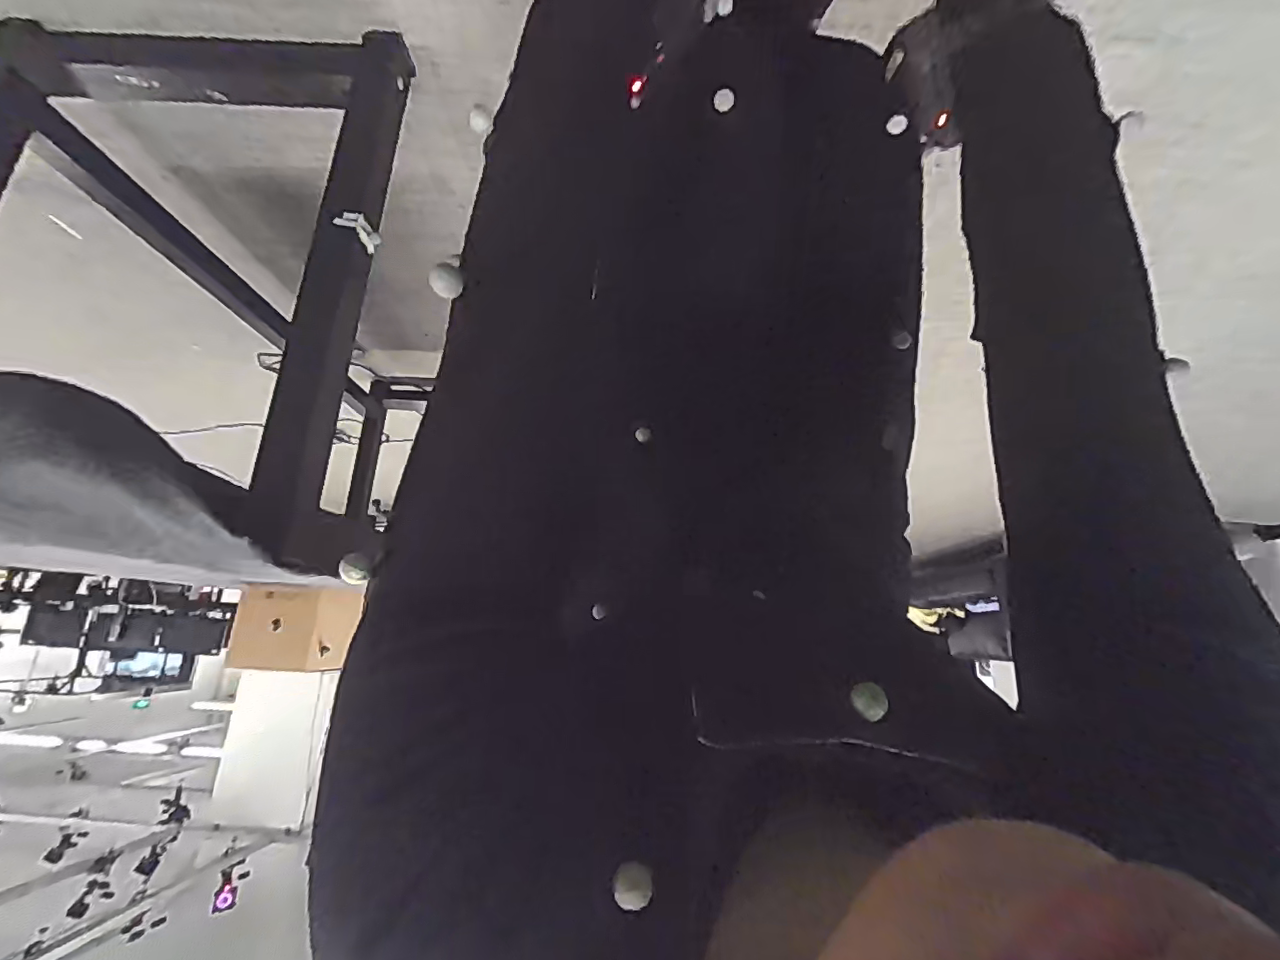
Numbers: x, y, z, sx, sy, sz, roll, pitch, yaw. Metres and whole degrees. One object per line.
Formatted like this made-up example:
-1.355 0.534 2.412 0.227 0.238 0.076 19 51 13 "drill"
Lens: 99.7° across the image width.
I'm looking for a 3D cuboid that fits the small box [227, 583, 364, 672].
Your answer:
-0.720 0.313 1.150 0.168 0.176 0.179 2 164 3 "small box"
